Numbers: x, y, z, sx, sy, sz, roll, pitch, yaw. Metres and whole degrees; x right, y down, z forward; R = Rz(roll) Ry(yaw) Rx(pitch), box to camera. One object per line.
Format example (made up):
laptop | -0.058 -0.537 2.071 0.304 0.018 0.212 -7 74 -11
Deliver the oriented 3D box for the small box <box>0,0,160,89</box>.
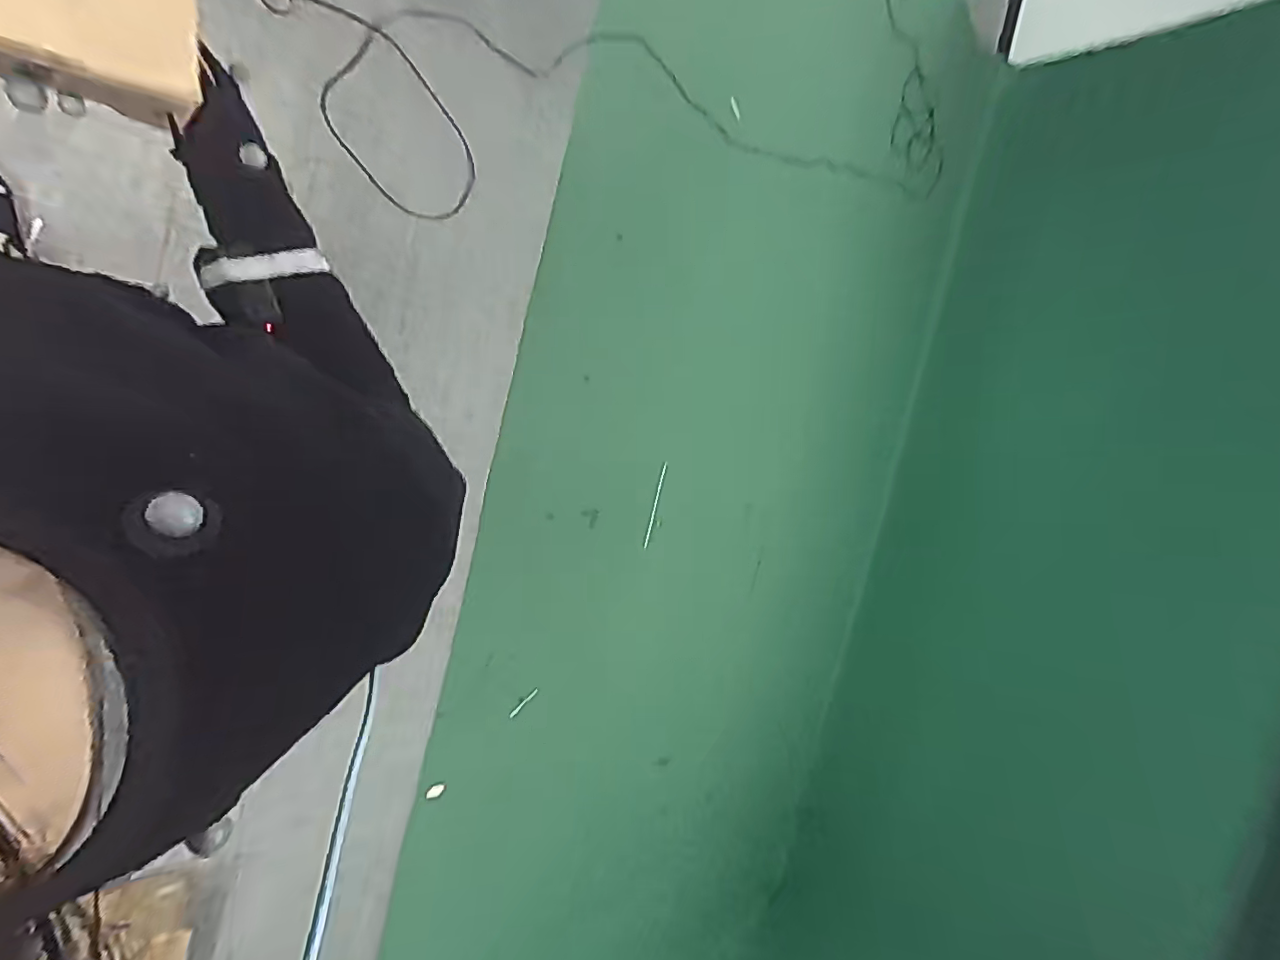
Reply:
small box | -0.262 -0.246 0.159 0.168 0.176 0.179 -8 119 -45

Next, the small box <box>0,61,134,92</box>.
small box | -0.371 -0.311 0.261 0.179 0.176 0.168 -10 121 -43
